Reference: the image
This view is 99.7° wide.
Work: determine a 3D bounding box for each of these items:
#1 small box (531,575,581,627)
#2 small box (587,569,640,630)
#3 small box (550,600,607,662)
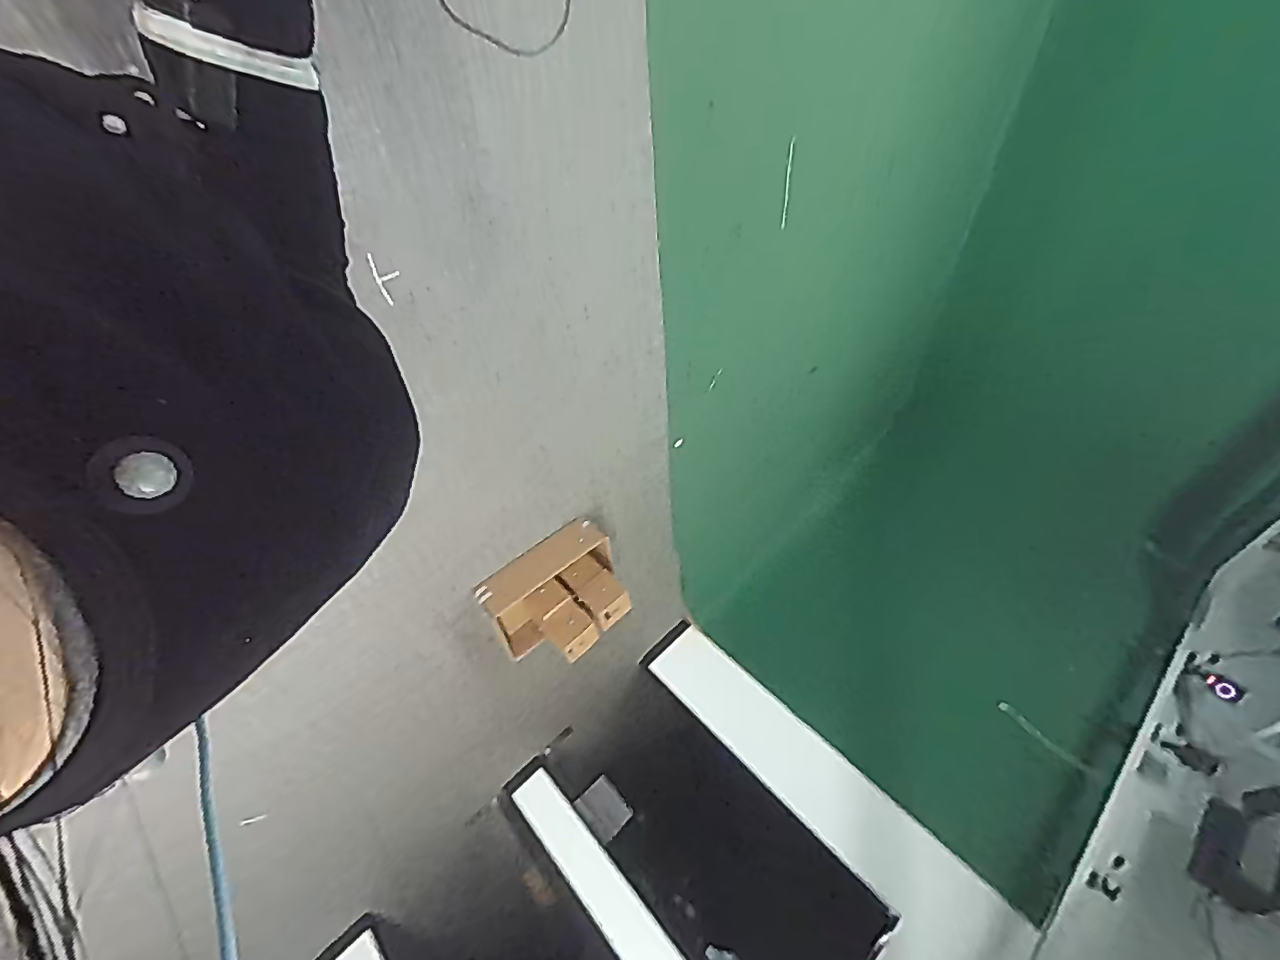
[{"bbox_3d":[-0.385,0.579,2.520,0.168,0.176,0.179,-36,142,-27],"label":"small box"},{"bbox_3d":[-0.129,0.549,2.504,0.179,0.176,0.168,-37,142,-22],"label":"small box"},{"bbox_3d":[-0.278,0.676,2.439,0.179,0.176,0.168,-39,144,-23],"label":"small box"}]
